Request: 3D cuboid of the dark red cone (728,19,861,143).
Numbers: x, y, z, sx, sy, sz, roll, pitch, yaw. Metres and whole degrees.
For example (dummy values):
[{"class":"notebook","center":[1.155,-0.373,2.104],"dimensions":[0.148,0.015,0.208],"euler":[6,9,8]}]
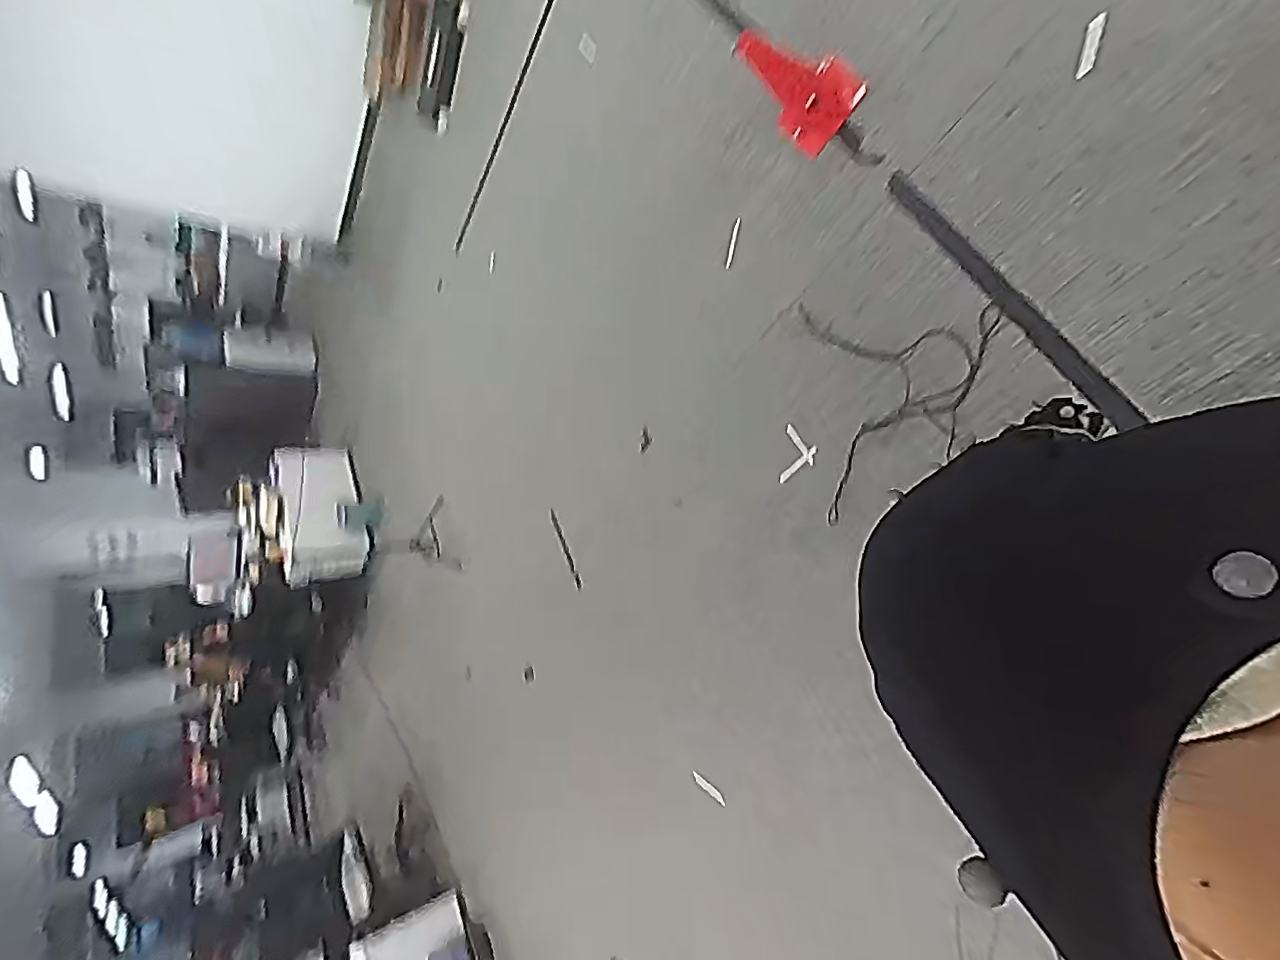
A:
[{"class":"dark red cone","center":[0.359,-1.045,1.359],"dimensions":[0.201,0.394,0.202],"euler":[-48,59,39]}]
